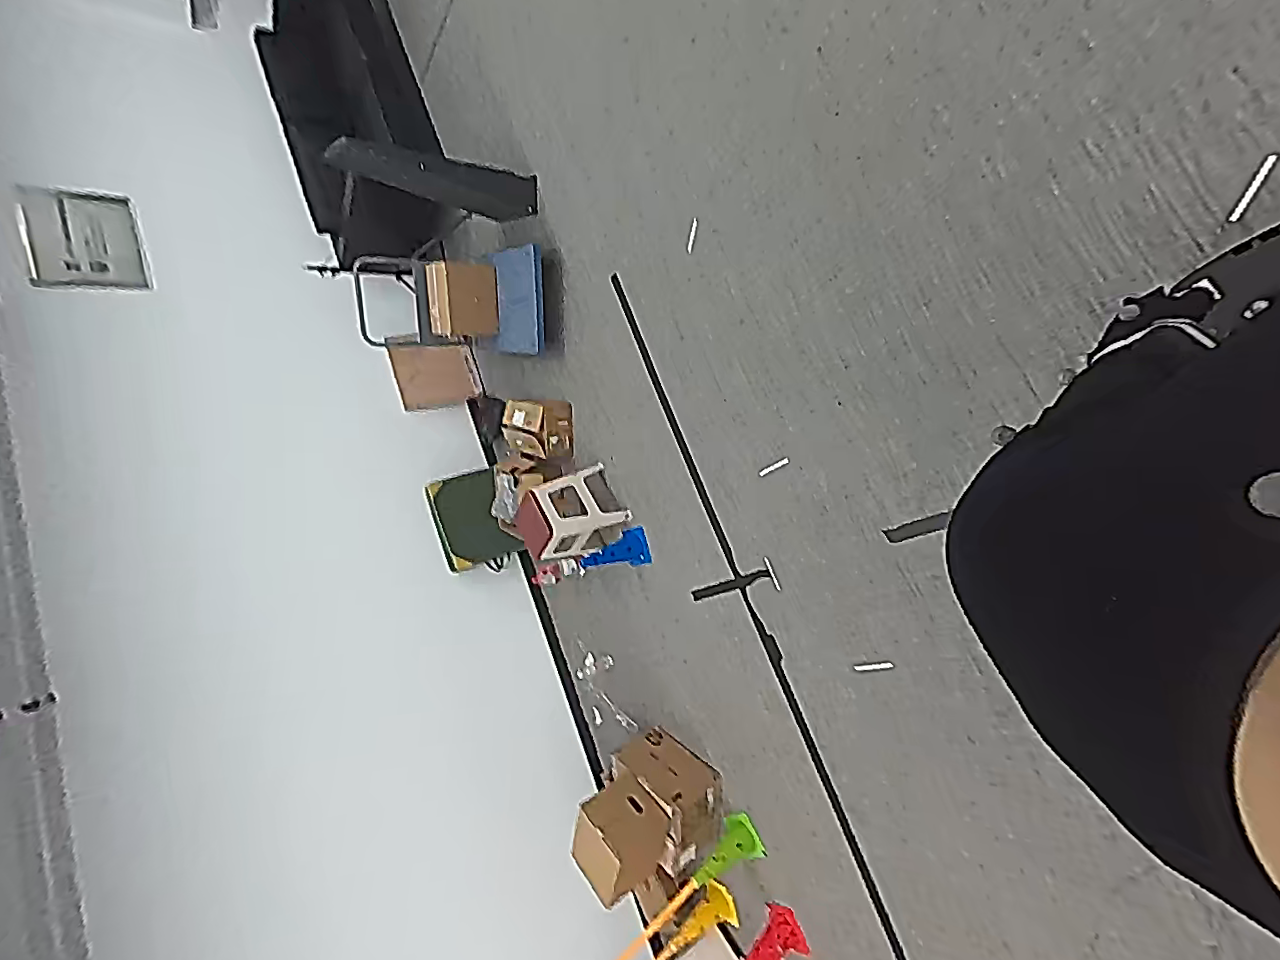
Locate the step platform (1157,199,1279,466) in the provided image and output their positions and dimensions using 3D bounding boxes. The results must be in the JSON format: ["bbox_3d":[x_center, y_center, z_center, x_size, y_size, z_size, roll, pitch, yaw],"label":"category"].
[{"bbox_3d":[1.277,-0.188,0.966,0.286,0.204,0.684,-37,70,50],"label":"step platform"}]
